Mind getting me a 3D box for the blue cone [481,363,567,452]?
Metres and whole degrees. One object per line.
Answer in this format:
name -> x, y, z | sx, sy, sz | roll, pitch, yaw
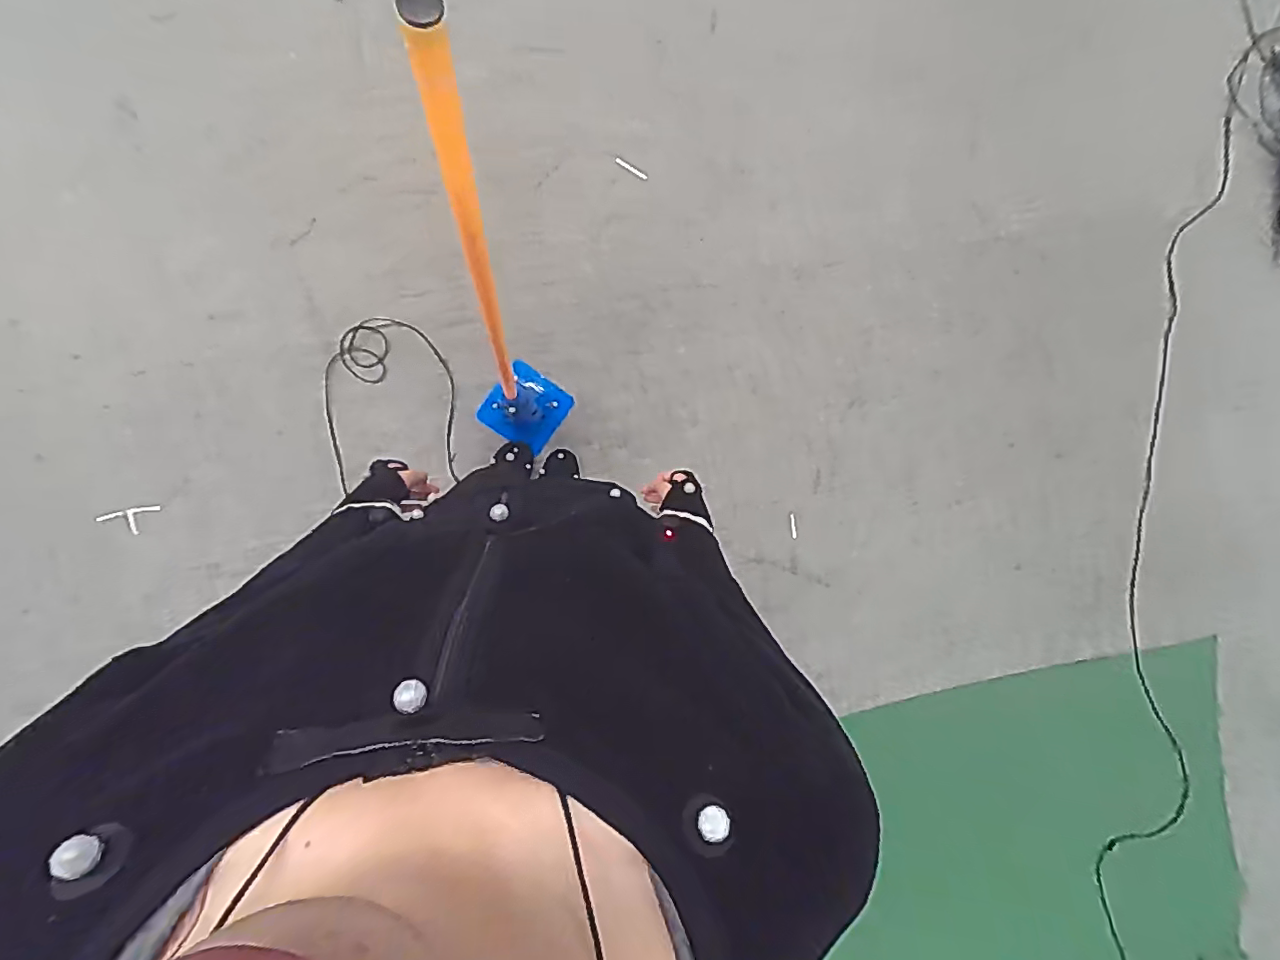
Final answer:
blue cone -> -0.286, -0.189, 1.276 | 0.192, 0.380, 0.193 | 34, 87, -8
